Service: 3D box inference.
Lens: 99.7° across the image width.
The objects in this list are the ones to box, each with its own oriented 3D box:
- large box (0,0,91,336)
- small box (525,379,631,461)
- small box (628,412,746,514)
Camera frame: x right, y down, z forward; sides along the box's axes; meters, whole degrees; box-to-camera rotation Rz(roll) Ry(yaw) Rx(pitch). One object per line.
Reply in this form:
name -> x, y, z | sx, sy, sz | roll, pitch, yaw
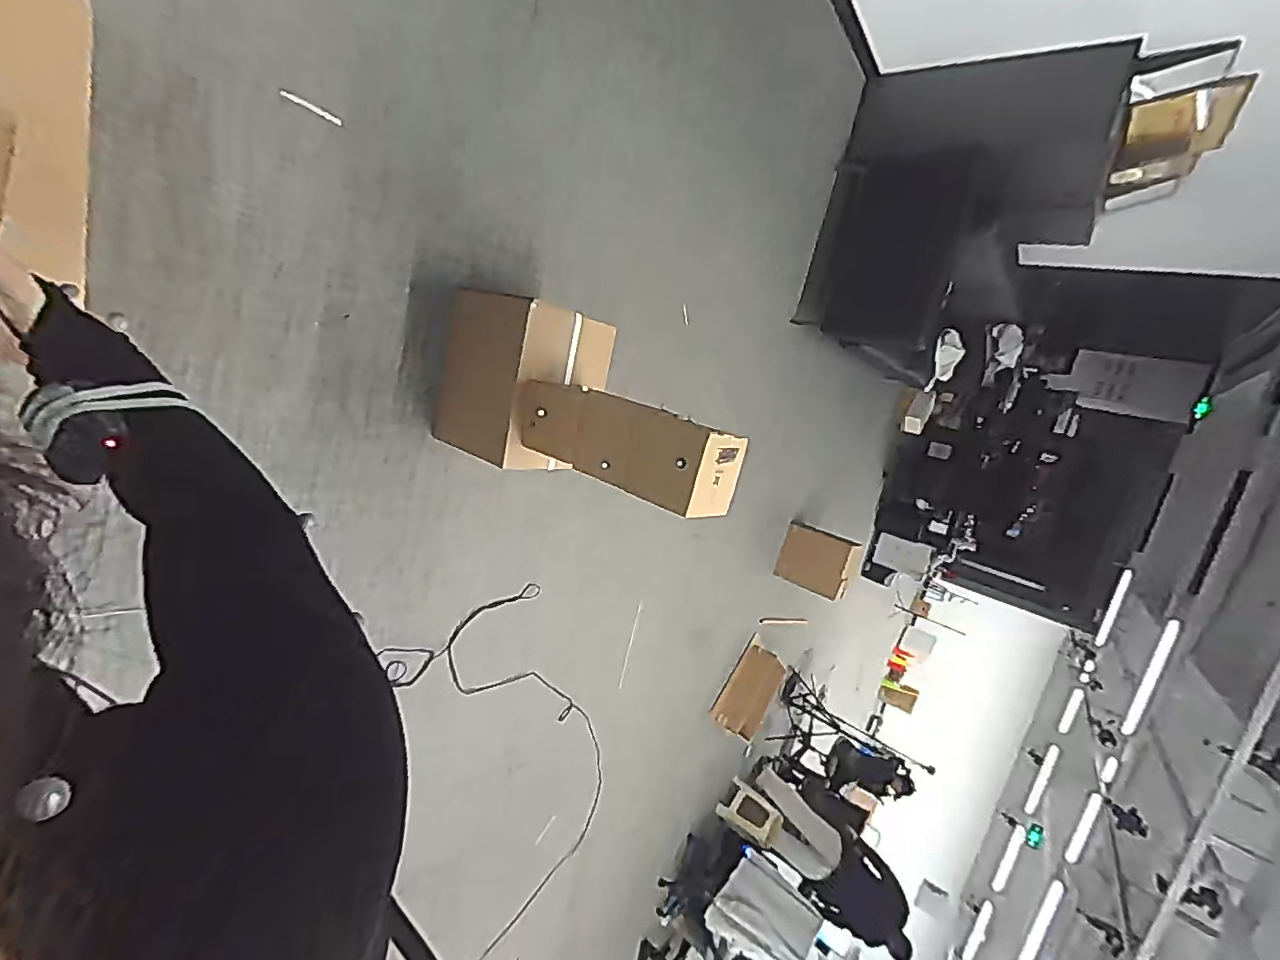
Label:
large box -> -0.888, -0.411, 0.634 | 0.320, 0.320, 0.408 | -2, 108, -53
small box -> -0.154, -0.149, 1.335 | 0.179, 0.176, 0.168 | -4, 111, -51
small box -> 0.097, -0.038, 1.153 | 0.168, 0.176, 0.179 | 1, 108, -52
